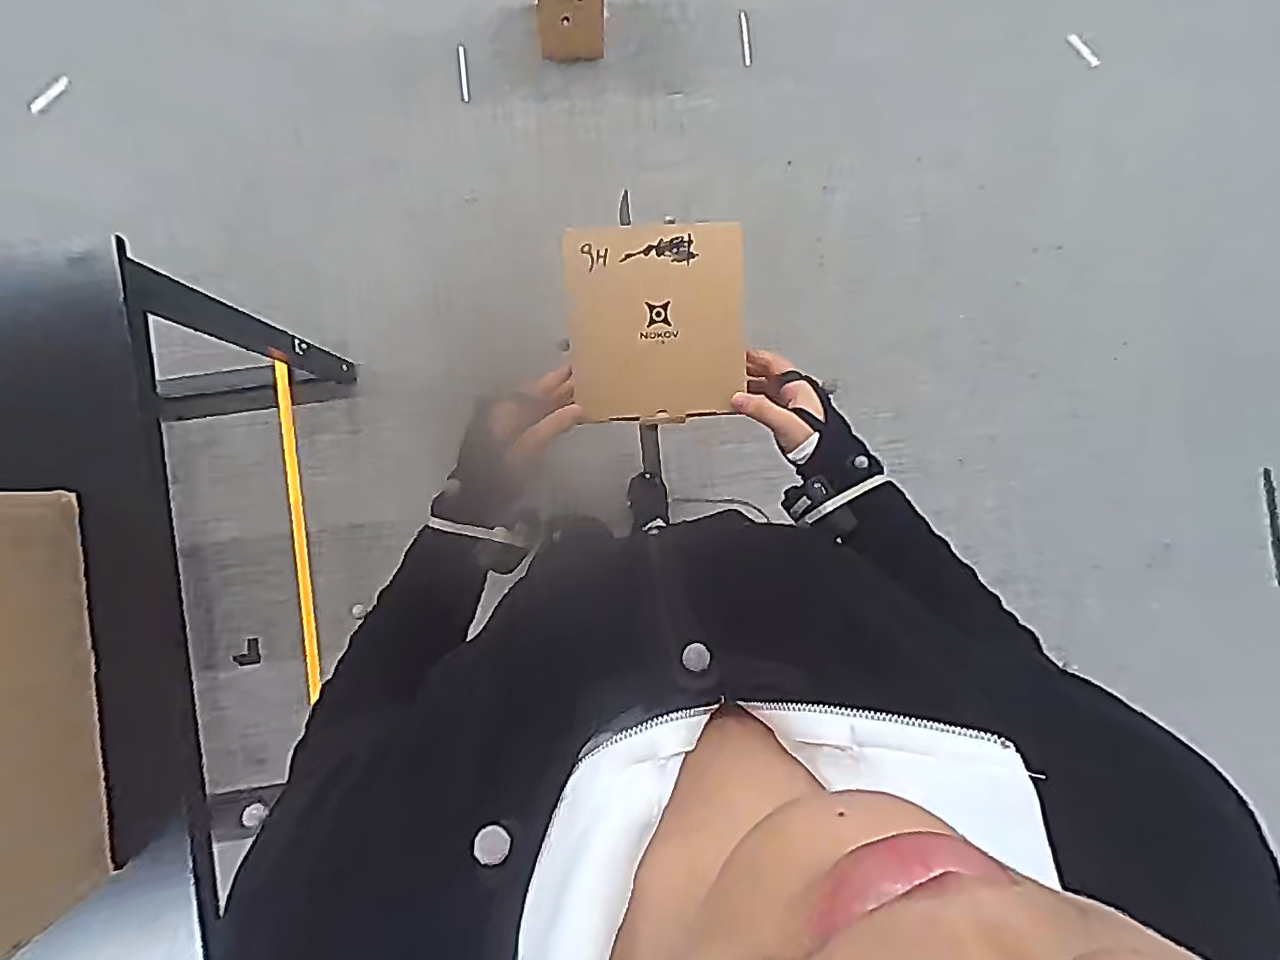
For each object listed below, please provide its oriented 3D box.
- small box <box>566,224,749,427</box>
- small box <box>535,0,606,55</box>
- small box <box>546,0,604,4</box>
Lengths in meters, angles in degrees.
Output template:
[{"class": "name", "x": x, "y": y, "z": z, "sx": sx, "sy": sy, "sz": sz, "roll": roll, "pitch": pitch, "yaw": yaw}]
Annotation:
[{"class": "small box", "x": 0.014, "y": -0.155, "z": 0.576, "sx": 0.168, "sy": 0.176, "sz": 0.179, "roll": -5, "pitch": 100, "yaw": -4}, {"class": "small box", "x": -0.181, "y": -1.263, "z": 1.424, "sx": 0.179, "sy": 0.176, "sz": 0.168, "roll": -3, "pitch": 90, "yaw": -4}, {"class": "small box", "x": -0.165, "y": -1.270, "z": 1.260, "sx": 0.168, "sy": 0.176, "sz": 0.179, "roll": -3, "pitch": 90, "yaw": -3}]
